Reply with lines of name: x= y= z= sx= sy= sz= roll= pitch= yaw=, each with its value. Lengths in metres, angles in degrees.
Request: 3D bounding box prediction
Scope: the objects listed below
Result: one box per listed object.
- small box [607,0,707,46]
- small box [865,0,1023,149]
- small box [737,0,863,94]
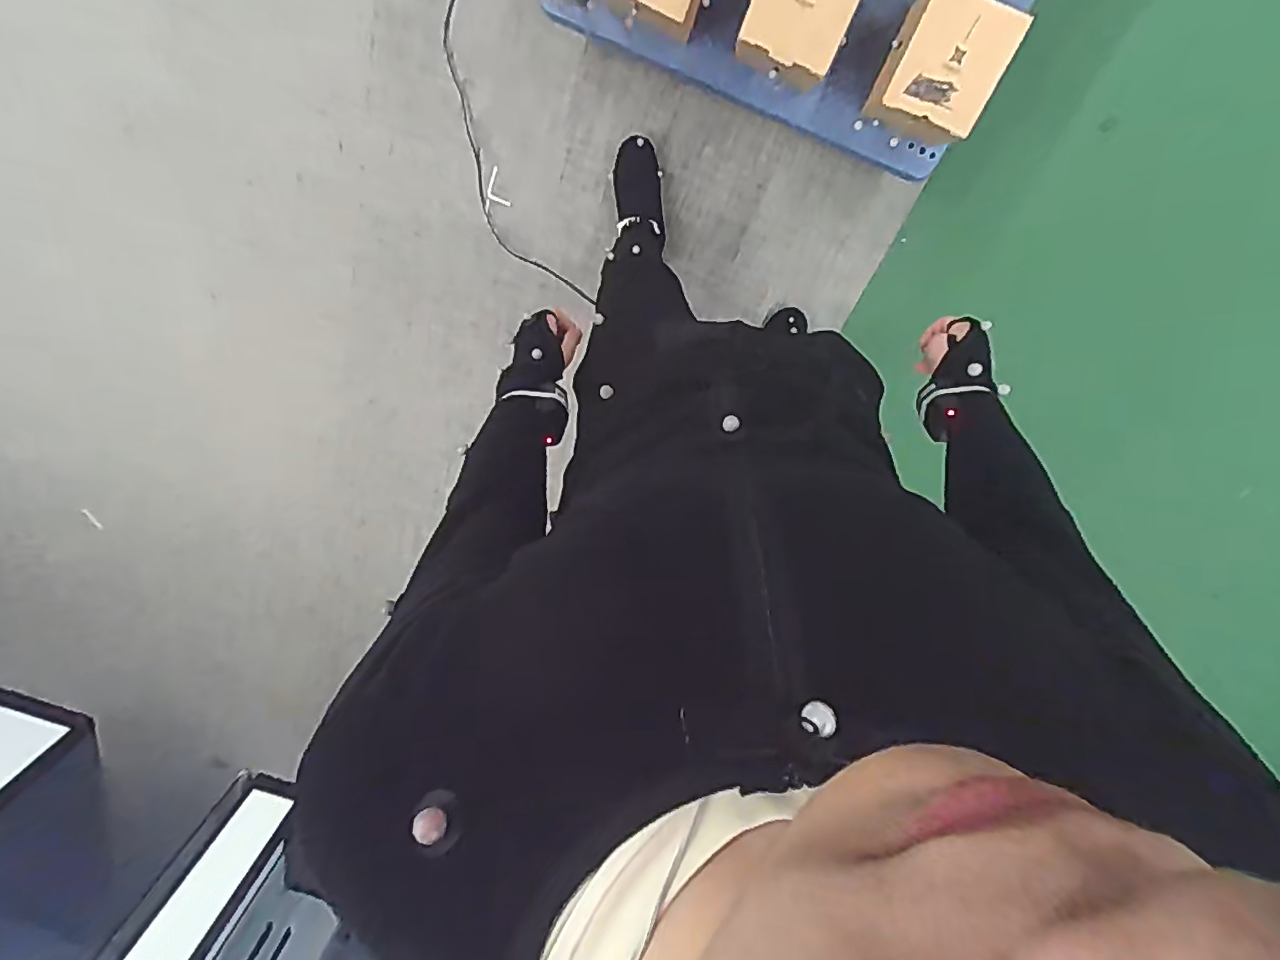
small box: x=0.038 y=-0.906 z=0.949 sx=0.179 sy=0.176 sz=0.168 roll=23 pitch=119 yaw=-6
small box: x=0.535 y=-0.731 z=0.988 sx=0.168 sy=0.176 sz=0.179 roll=21 pitch=118 yaw=-4
small box: x=0.283 y=-0.820 z=0.957 sx=0.168 sy=0.176 sz=0.179 roll=22 pitch=119 yaw=-5
